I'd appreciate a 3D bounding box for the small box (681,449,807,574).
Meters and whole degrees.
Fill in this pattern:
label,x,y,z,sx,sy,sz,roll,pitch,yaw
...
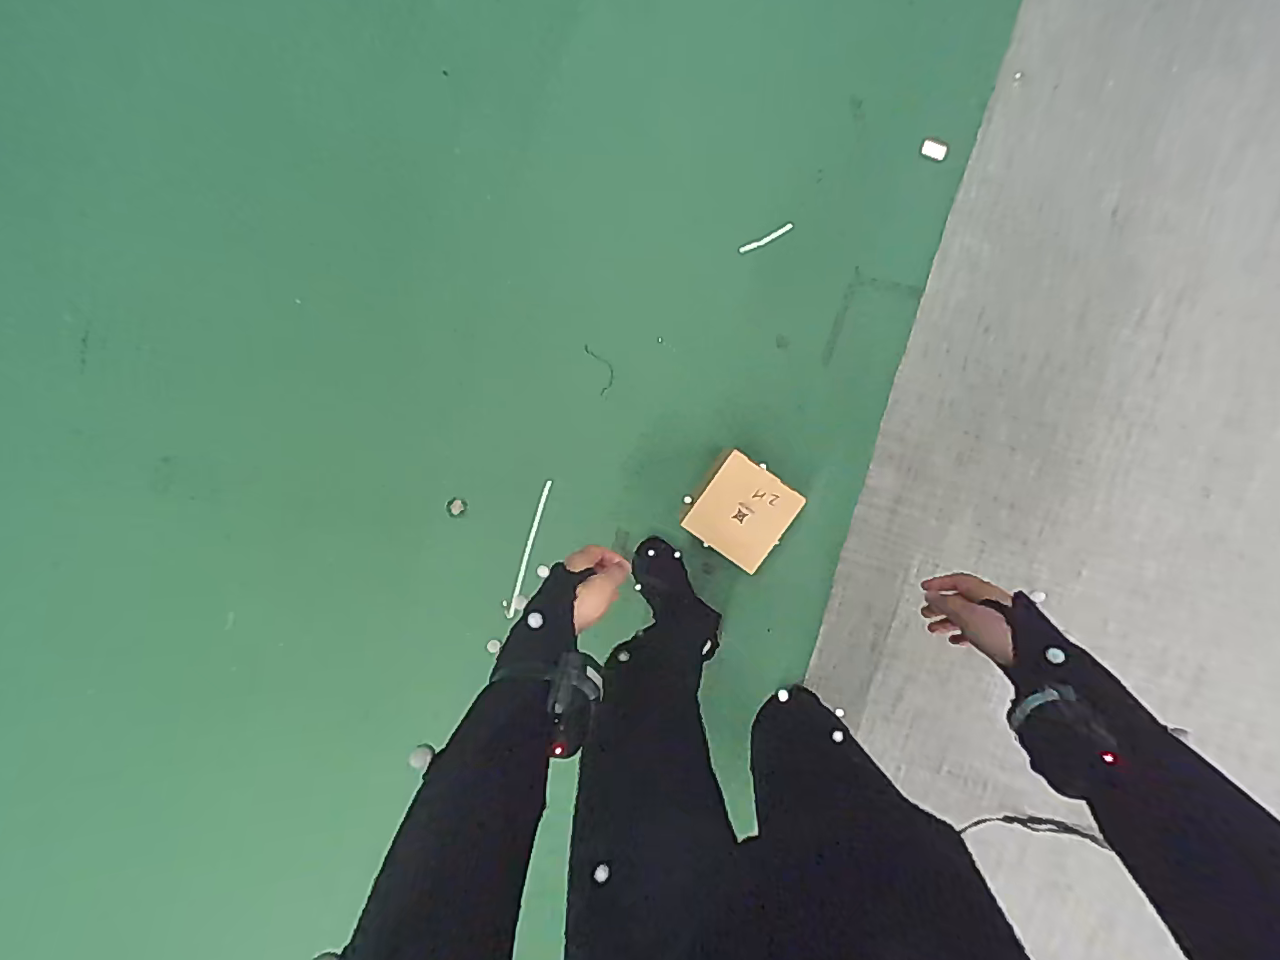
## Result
label,x,y,z,sx,sy,sz,roll,pitch,yaw
small box,0.194,0.055,1.067,0.168,0.176,0.179,35,93,-1
